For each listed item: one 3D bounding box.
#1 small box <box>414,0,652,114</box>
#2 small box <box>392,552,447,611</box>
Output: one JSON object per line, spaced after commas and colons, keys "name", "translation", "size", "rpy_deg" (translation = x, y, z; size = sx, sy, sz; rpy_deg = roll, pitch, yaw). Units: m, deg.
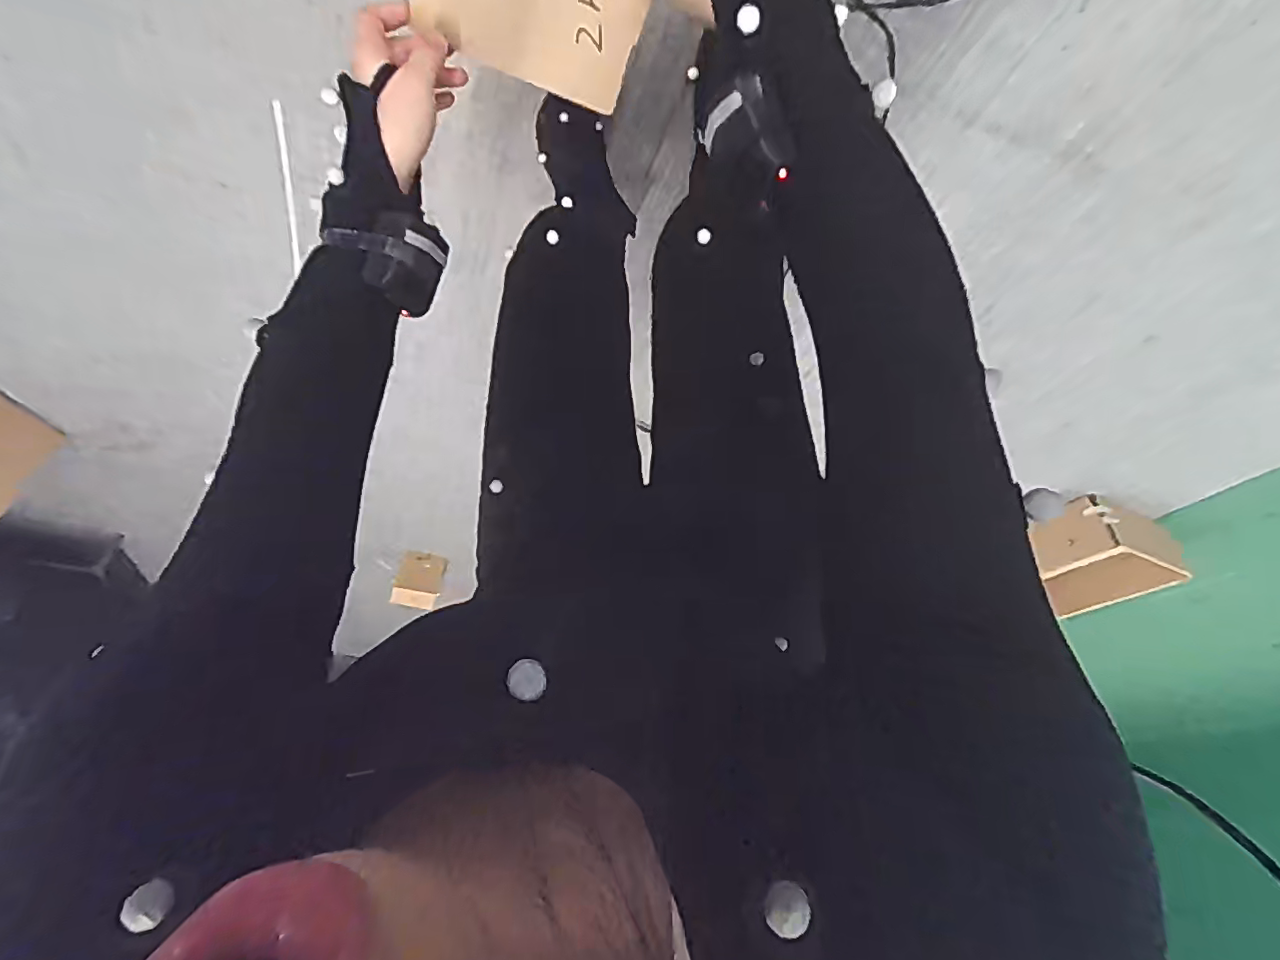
{"name": "small box", "translation": [-0.070, -0.452, 0.436], "size": [0.179, 0.176, 0.168], "rpy_deg": [12, 151, -17]}
{"name": "small box", "translation": [-0.899, 0.417, 2.212], "size": [0.168, 0.176, 0.179], "rpy_deg": [16, 142, -19]}
